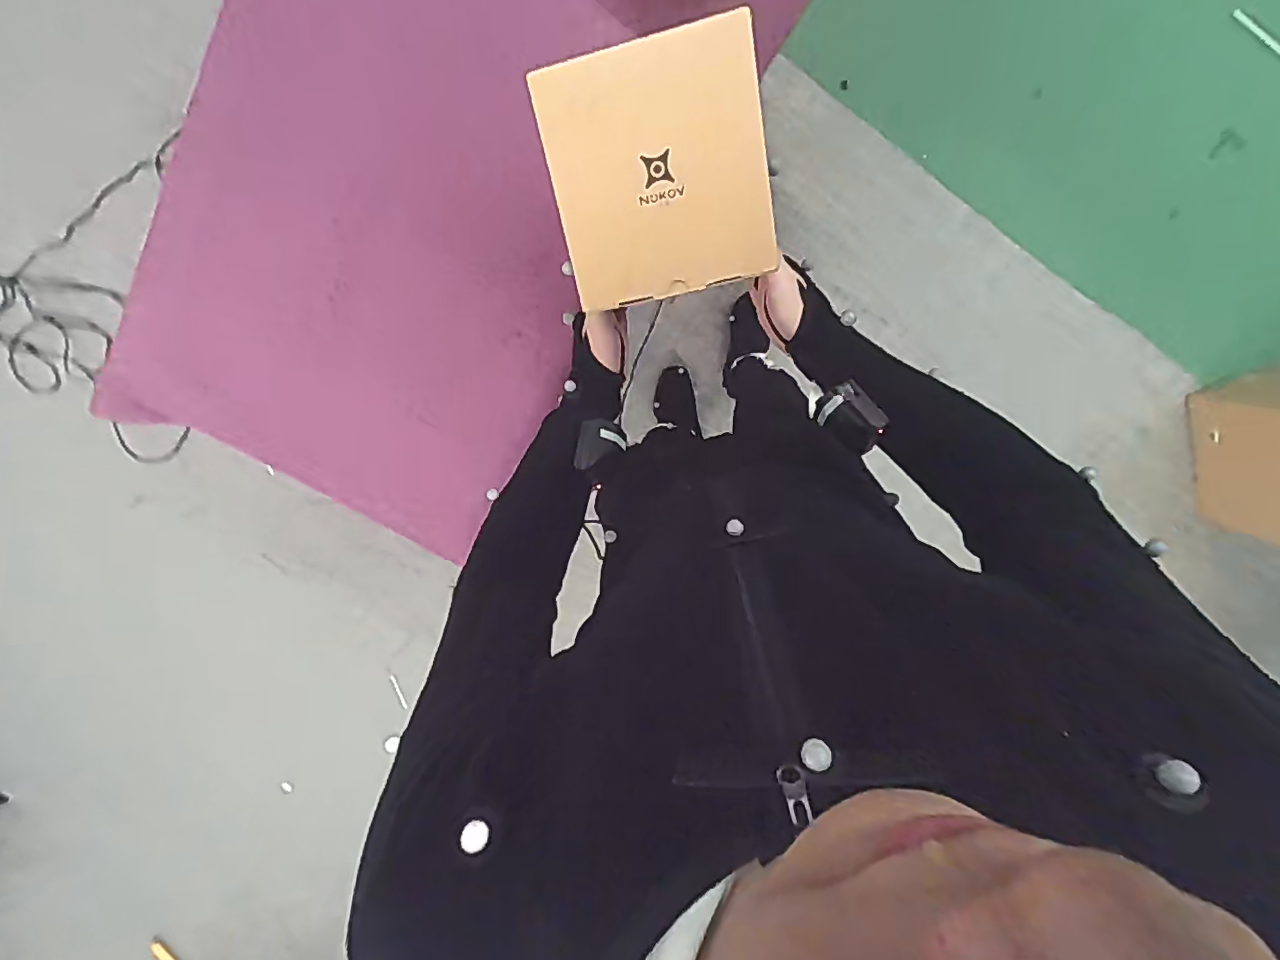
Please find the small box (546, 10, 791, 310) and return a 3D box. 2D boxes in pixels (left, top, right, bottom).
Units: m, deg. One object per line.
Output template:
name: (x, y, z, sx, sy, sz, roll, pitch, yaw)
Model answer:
small box: (0.030, -0.262, 0.485, 0.168, 0.176, 0.179, -10, 112, 8)
